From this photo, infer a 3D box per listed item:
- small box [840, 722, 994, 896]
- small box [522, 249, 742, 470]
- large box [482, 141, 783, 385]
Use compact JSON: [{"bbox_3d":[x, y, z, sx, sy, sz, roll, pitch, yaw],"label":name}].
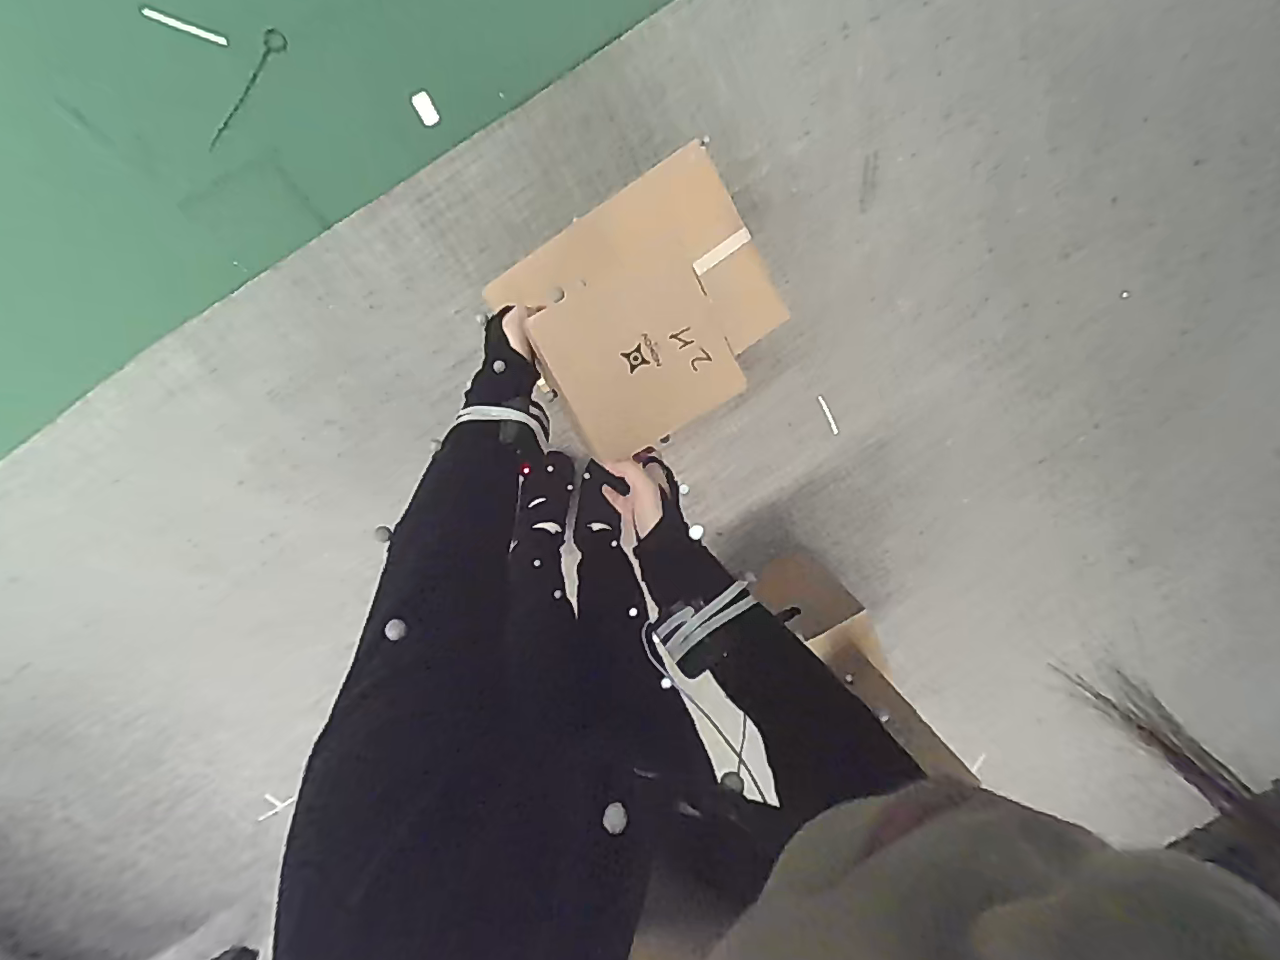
[{"bbox_3d":[0.489,0.579,0.969,0.168,0.176,0.179,-25,111,-4],"label":"small box"},{"bbox_3d":[-0.018,-0.130,0.615,0.179,0.176,0.168,-29,105,-7],"label":"small box"},{"bbox_3d":[-0.026,-0.323,1.004,0.408,0.320,0.320,-34,111,2],"label":"large box"}]
